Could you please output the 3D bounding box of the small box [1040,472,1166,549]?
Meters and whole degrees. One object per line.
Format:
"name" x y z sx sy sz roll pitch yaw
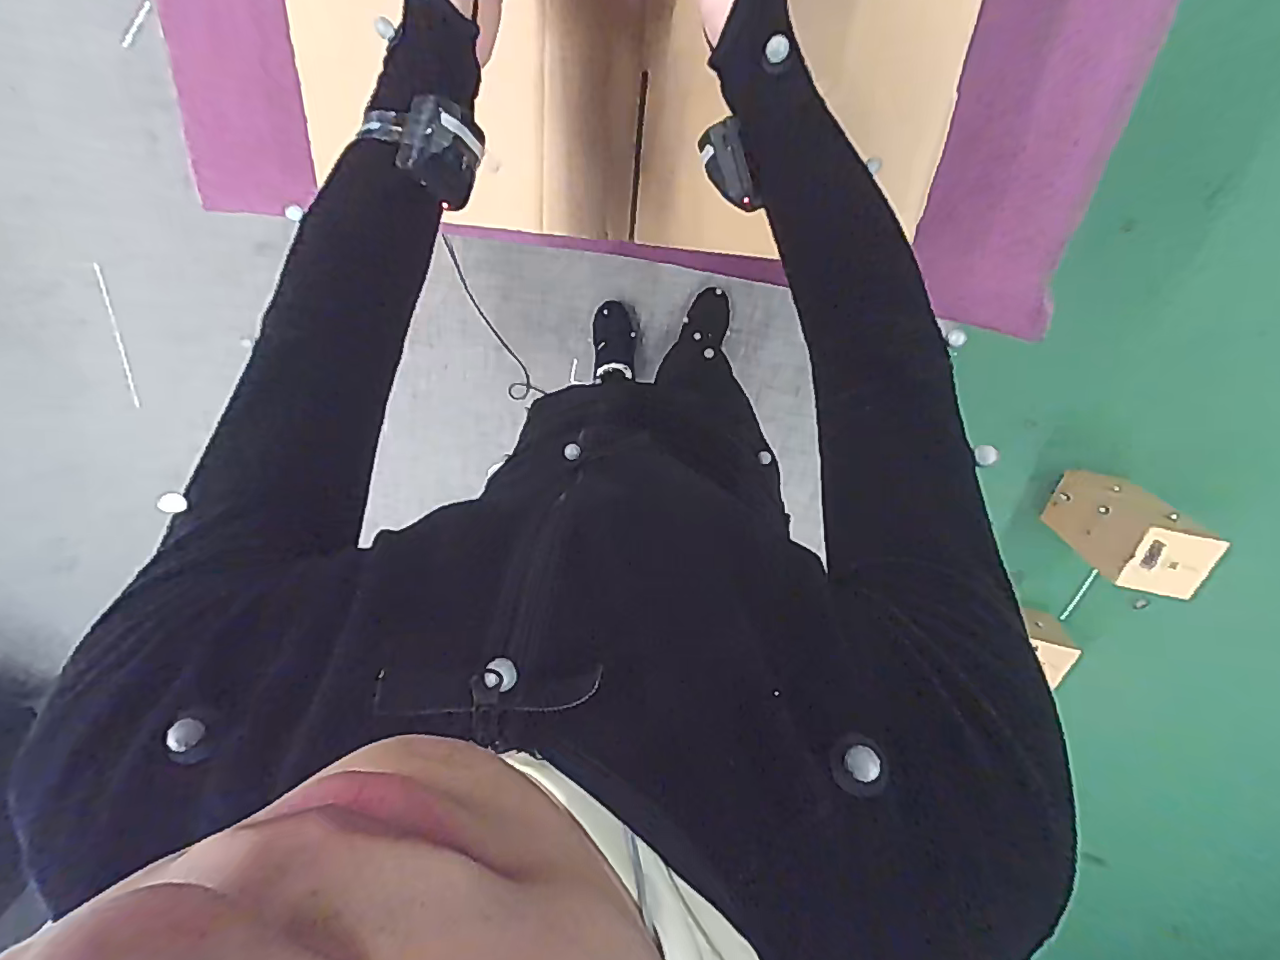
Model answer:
"small box" 1.255 0.092 1.474 0.179 0.176 0.168 12 116 3

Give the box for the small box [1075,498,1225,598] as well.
"small box" 1.233 0.160 1.327 0.179 0.176 0.168 11 116 2
